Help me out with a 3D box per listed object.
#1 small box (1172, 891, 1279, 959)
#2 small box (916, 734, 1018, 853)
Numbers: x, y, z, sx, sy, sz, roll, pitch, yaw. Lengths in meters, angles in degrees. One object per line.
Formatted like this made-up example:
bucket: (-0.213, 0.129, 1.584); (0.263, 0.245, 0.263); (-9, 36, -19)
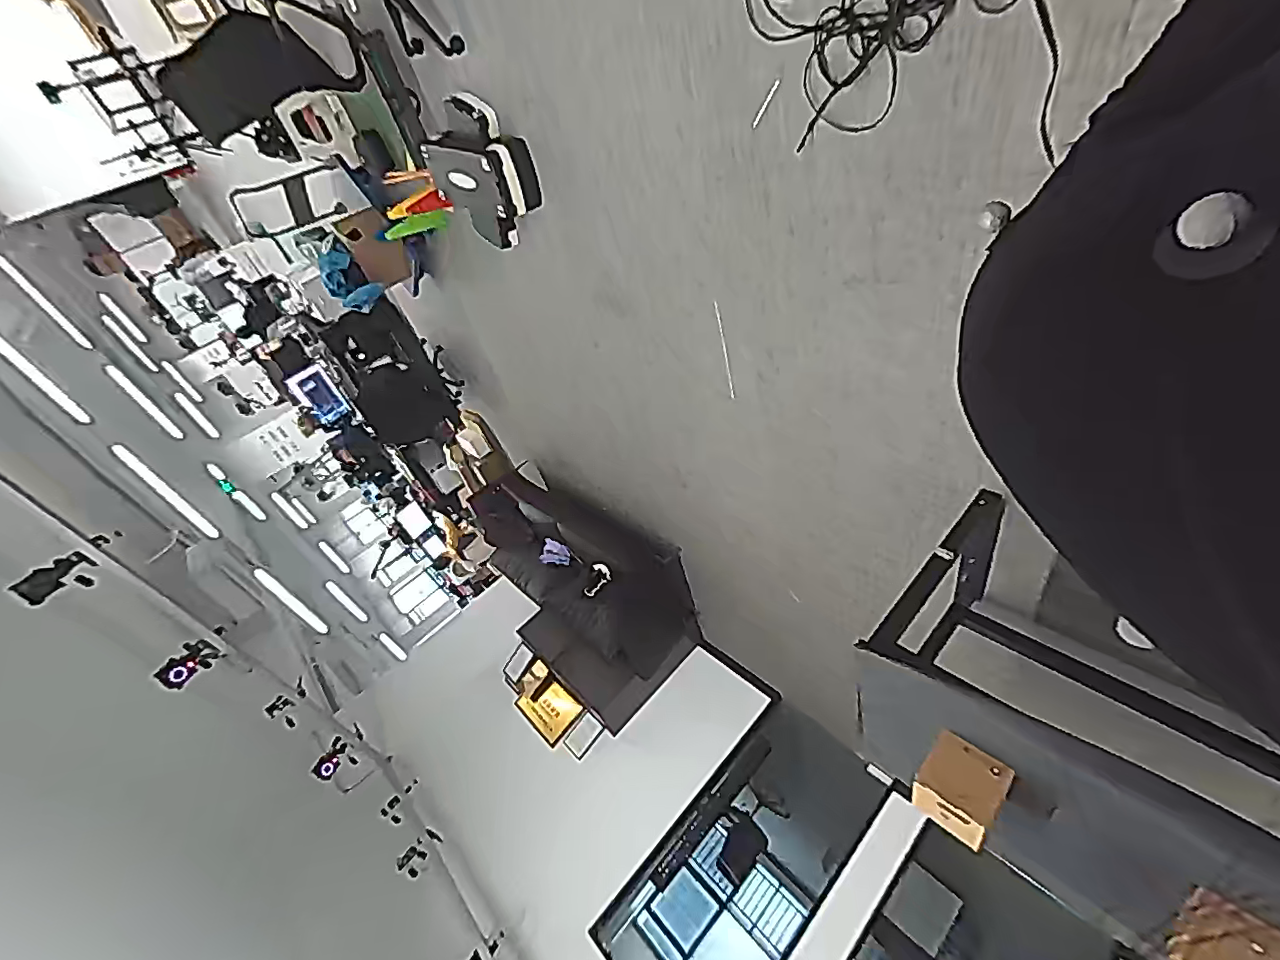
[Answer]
small box: (1.149, 0.939, 1.025); (0.168, 0.176, 0.179); (23, 145, 45)
small box: (0.823, 0.783, 1.366); (0.168, 0.176, 0.179); (26, 148, 42)
